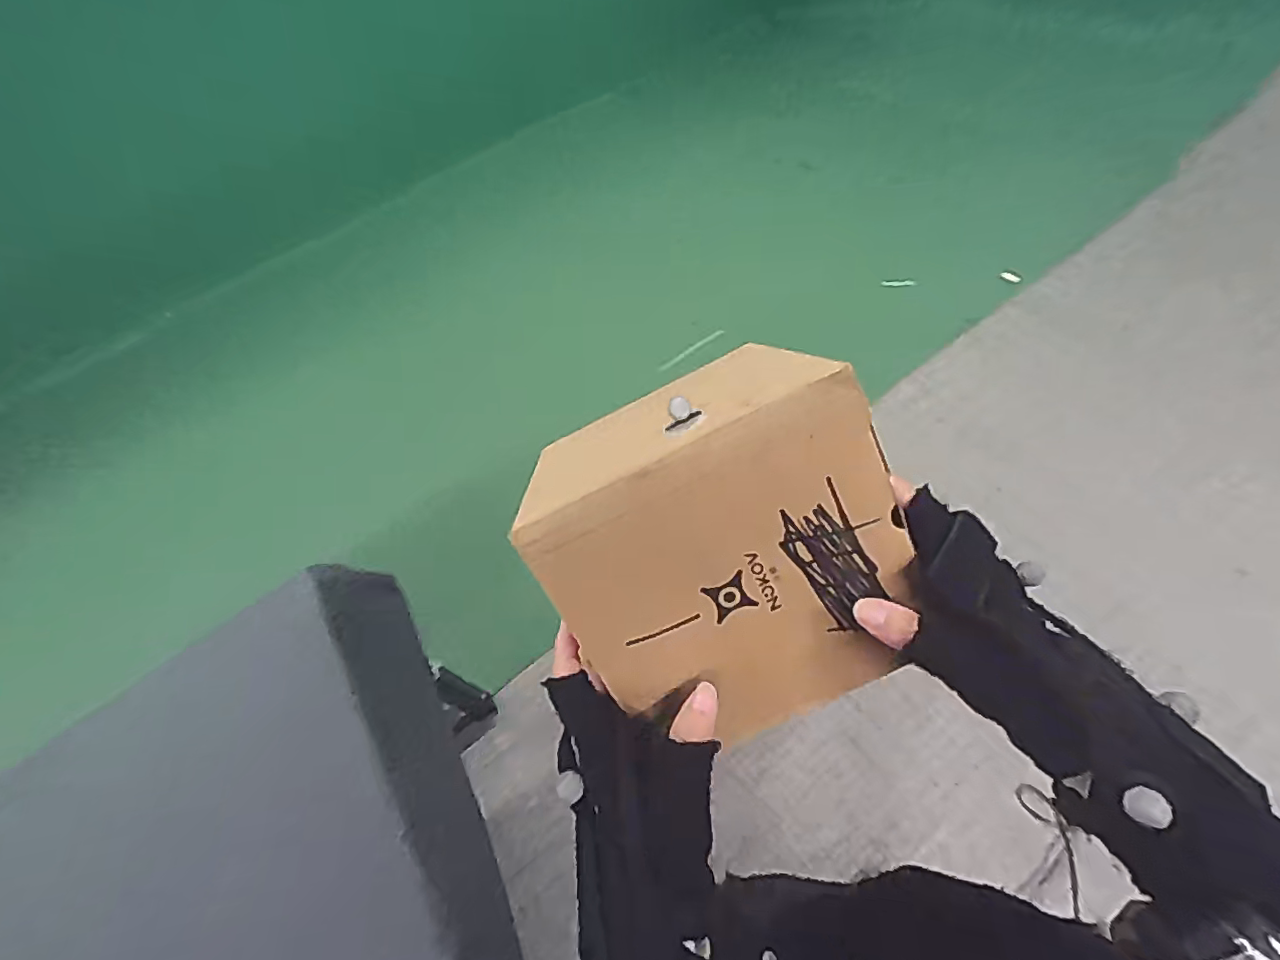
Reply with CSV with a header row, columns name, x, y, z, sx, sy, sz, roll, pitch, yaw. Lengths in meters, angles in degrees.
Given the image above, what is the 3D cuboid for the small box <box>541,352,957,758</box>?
name,x,y,z,sx,sy,sz,roll,pitch,yaw
small box,0.056,0.028,0.351,0.179,0.168,0.176,-25,16,5
